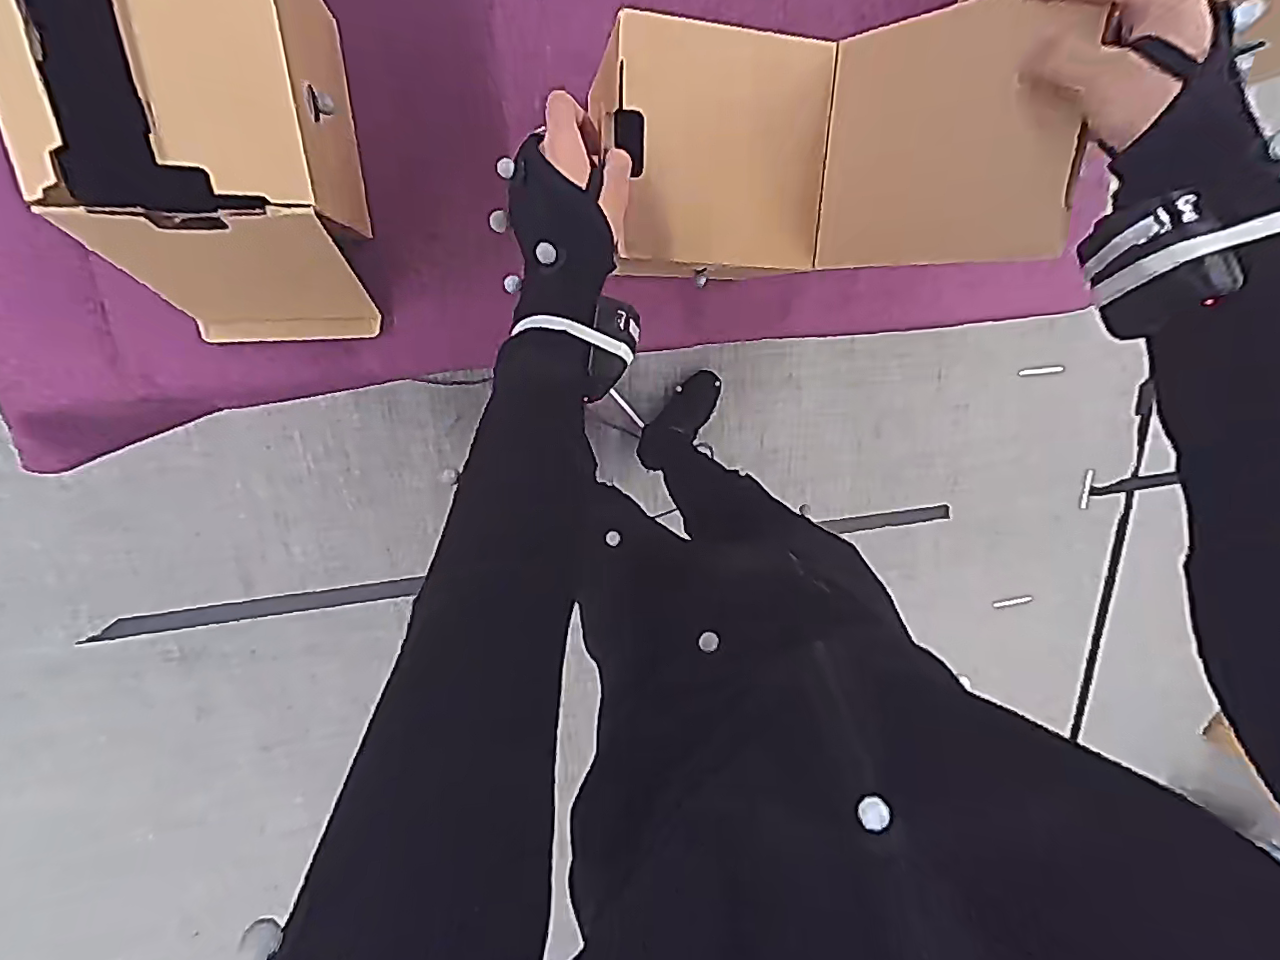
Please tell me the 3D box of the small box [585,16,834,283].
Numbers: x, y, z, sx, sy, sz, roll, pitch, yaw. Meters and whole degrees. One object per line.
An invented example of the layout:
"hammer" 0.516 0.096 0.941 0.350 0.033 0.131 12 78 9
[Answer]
"small box" 0.044 -0.273 0.493 0.179 0.176 0.168 -2 108 -13
